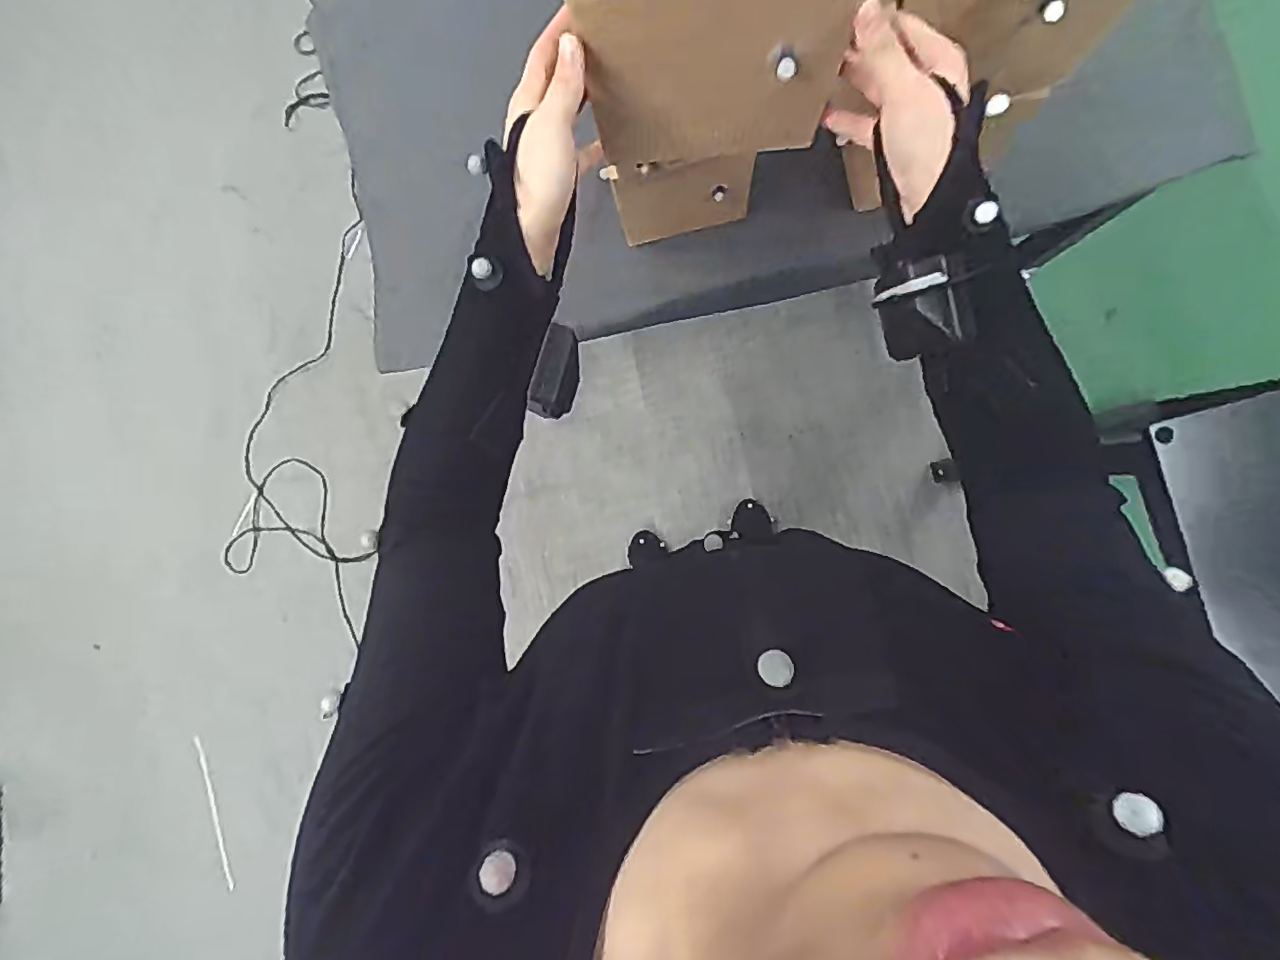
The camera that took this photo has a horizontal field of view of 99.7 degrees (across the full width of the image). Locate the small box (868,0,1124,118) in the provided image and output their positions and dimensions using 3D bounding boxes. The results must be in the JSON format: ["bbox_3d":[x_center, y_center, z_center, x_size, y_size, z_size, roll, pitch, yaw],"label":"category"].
[{"bbox_3d":[0.340,-0.489,0.505,0.179,0.176,0.168,-14,86,7],"label":"small box"}]

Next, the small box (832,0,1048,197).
[{"bbox_3d":[0.351,-0.481,0.667,0.168,0.176,0.179,-12,87,7],"label":"small box"}]

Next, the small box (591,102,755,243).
[{"bbox_3d":[0.040,-0.441,0.706,0.179,0.176,0.168,-13,86,7],"label":"small box"}]

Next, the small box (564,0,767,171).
[{"bbox_3d":[0.020,-0.447,0.543,0.168,0.176,0.179,-16,85,6],"label":"small box"}]
